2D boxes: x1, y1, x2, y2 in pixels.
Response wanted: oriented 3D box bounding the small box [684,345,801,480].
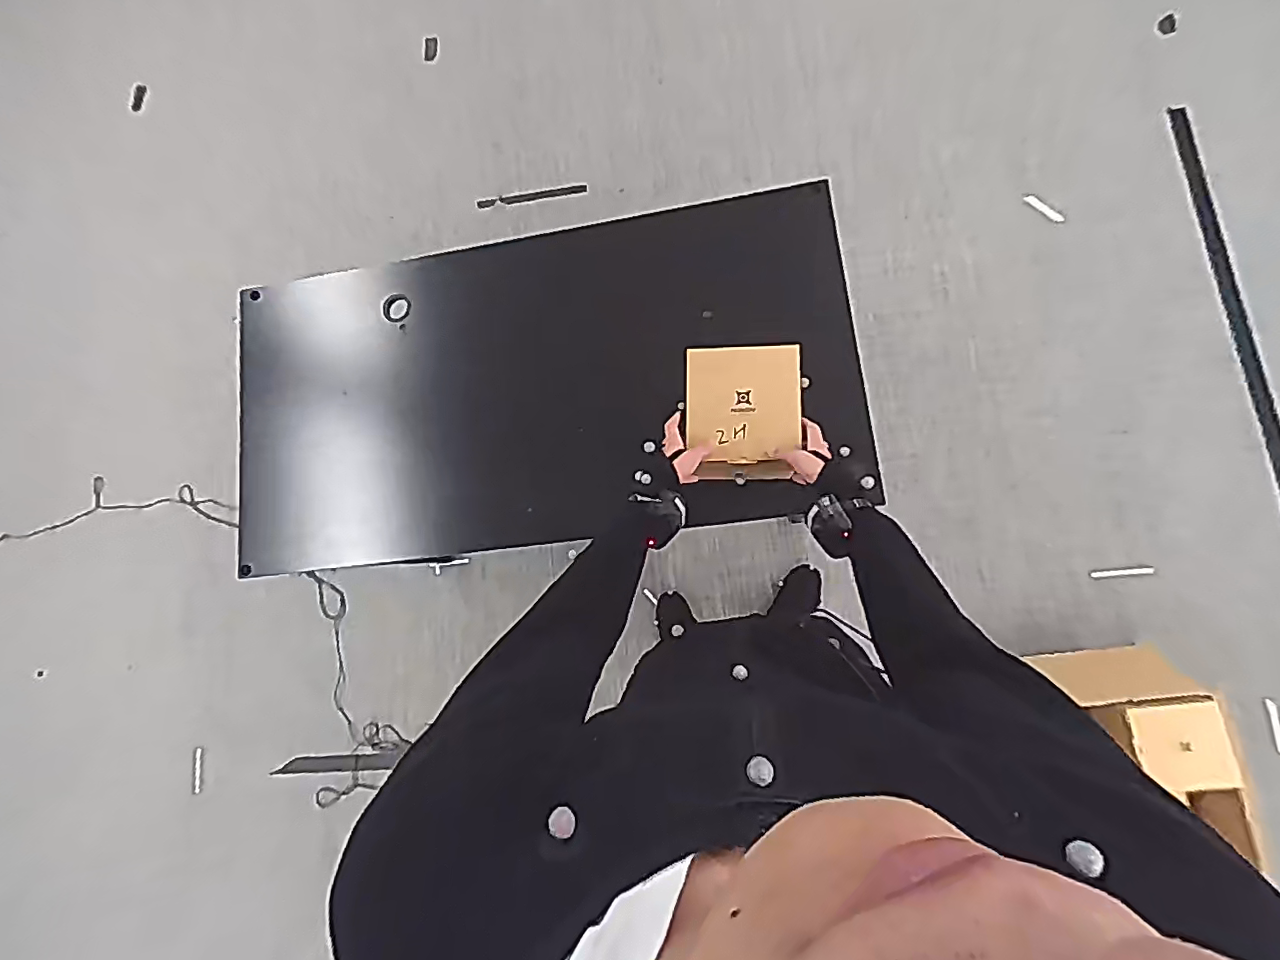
[{"bbox_3d":[0.159,-0.099,0.857,0.168,0.176,0.179,0,82,9],"label":"small box"}]
